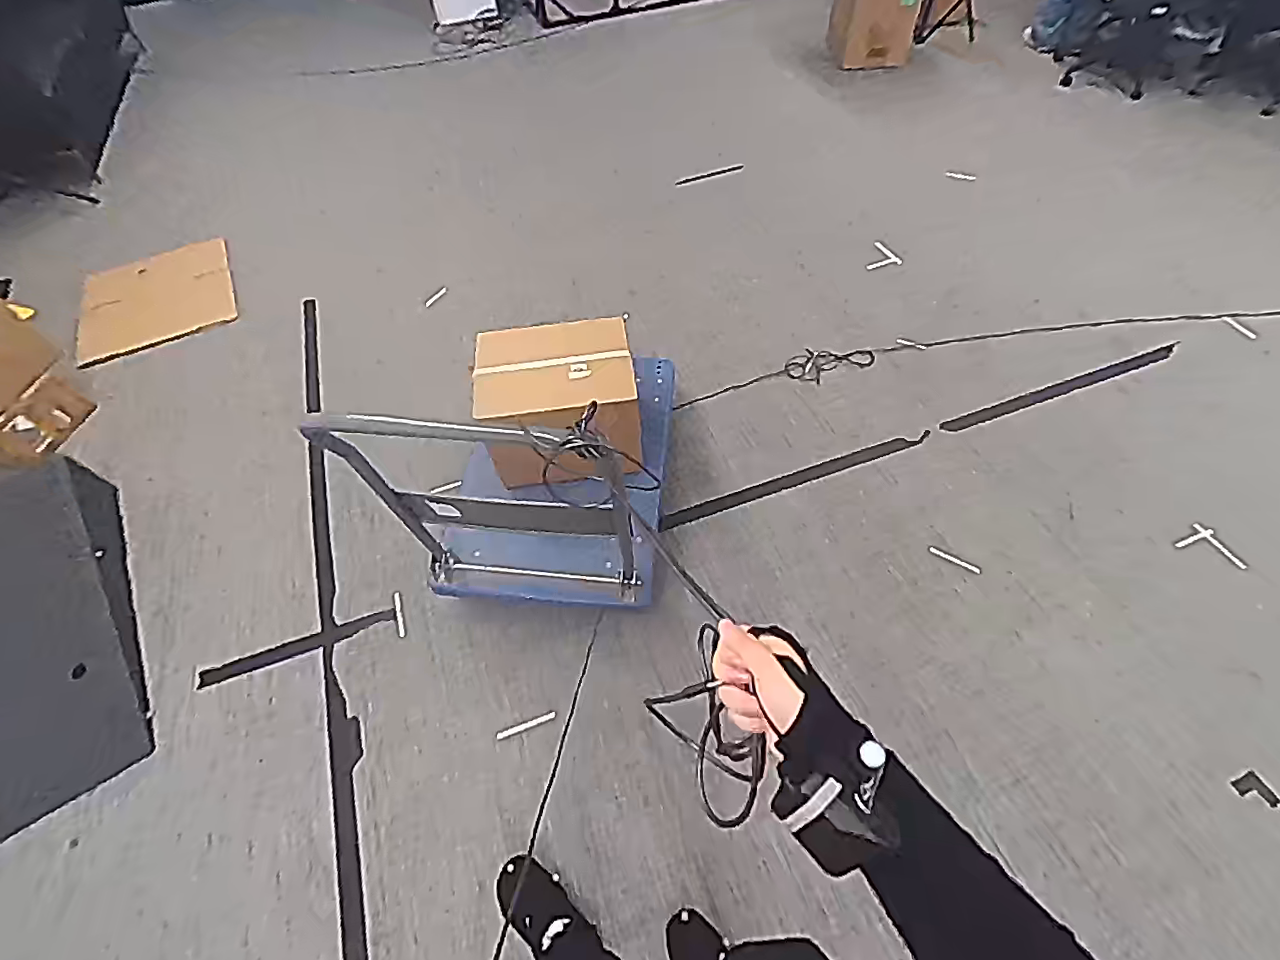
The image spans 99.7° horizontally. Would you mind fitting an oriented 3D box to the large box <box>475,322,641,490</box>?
[{"bbox_3d":[-0.219,-0.200,1.510,0.408,0.320,0.320,-7,56,-3],"label":"large box"}]
